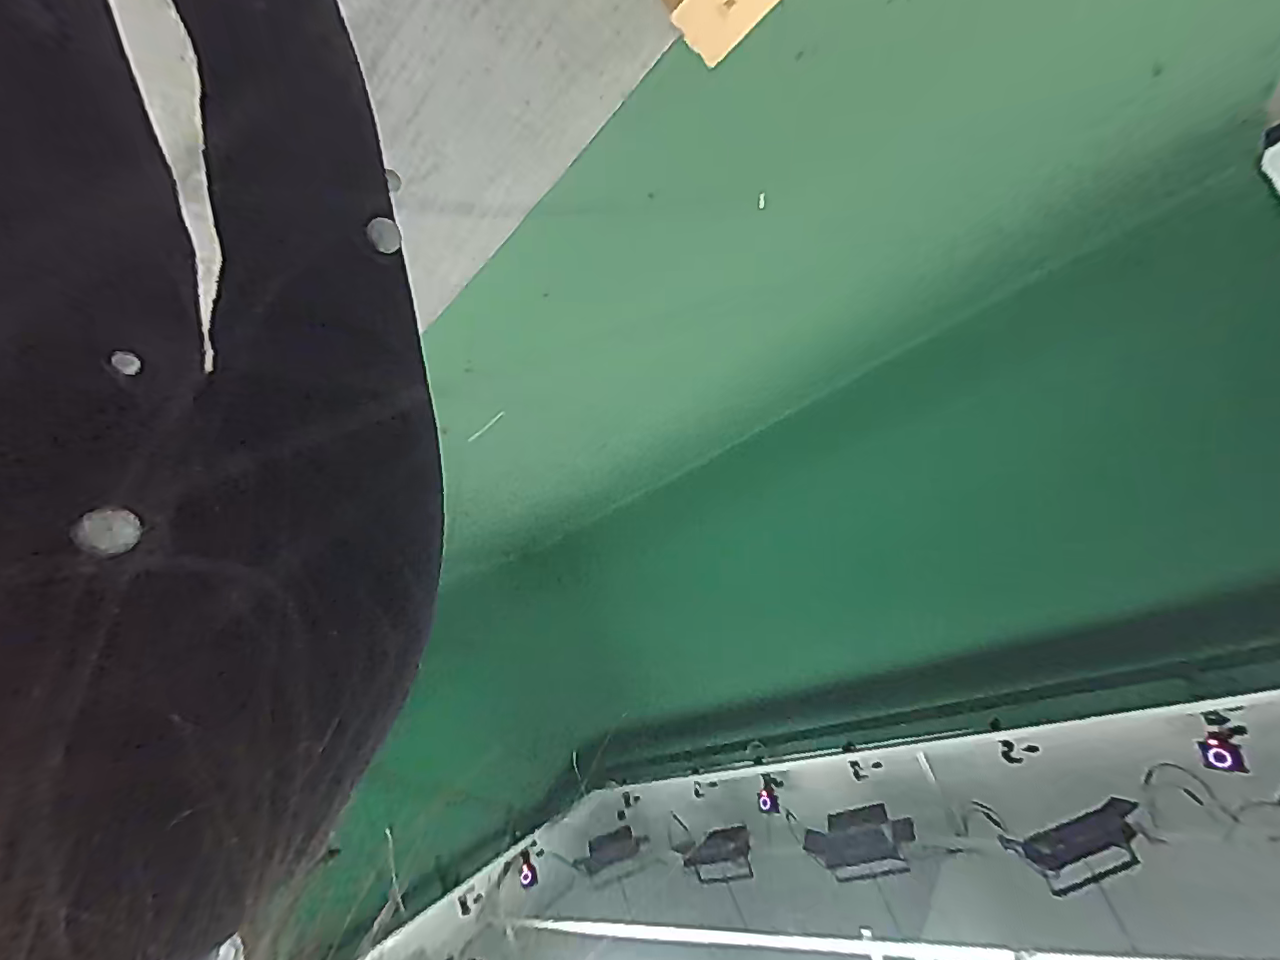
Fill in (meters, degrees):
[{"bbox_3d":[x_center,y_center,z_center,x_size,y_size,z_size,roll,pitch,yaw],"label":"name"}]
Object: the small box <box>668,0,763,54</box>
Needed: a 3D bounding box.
[{"bbox_3d":[0.130,-0.983,1.019,0.179,0.176,0.168,-28,165,33],"label":"small box"}]
